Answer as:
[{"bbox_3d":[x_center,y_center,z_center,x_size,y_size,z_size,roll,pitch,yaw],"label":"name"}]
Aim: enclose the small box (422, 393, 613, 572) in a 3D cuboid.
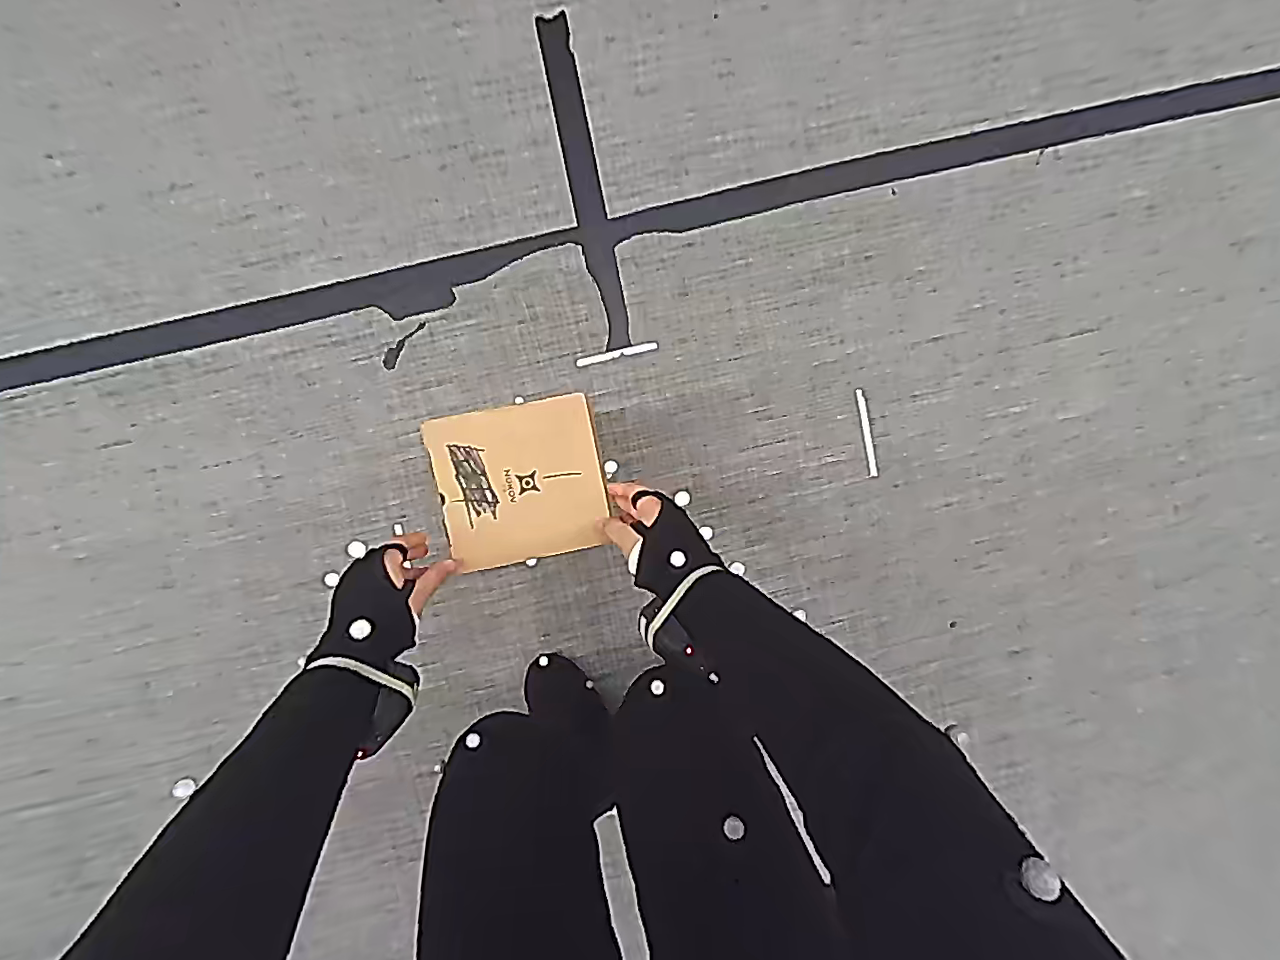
[{"bbox_3d":[-0.130,0.000,0.644,0.179,0.176,0.168,-11,94,-3],"label":"small box"}]
